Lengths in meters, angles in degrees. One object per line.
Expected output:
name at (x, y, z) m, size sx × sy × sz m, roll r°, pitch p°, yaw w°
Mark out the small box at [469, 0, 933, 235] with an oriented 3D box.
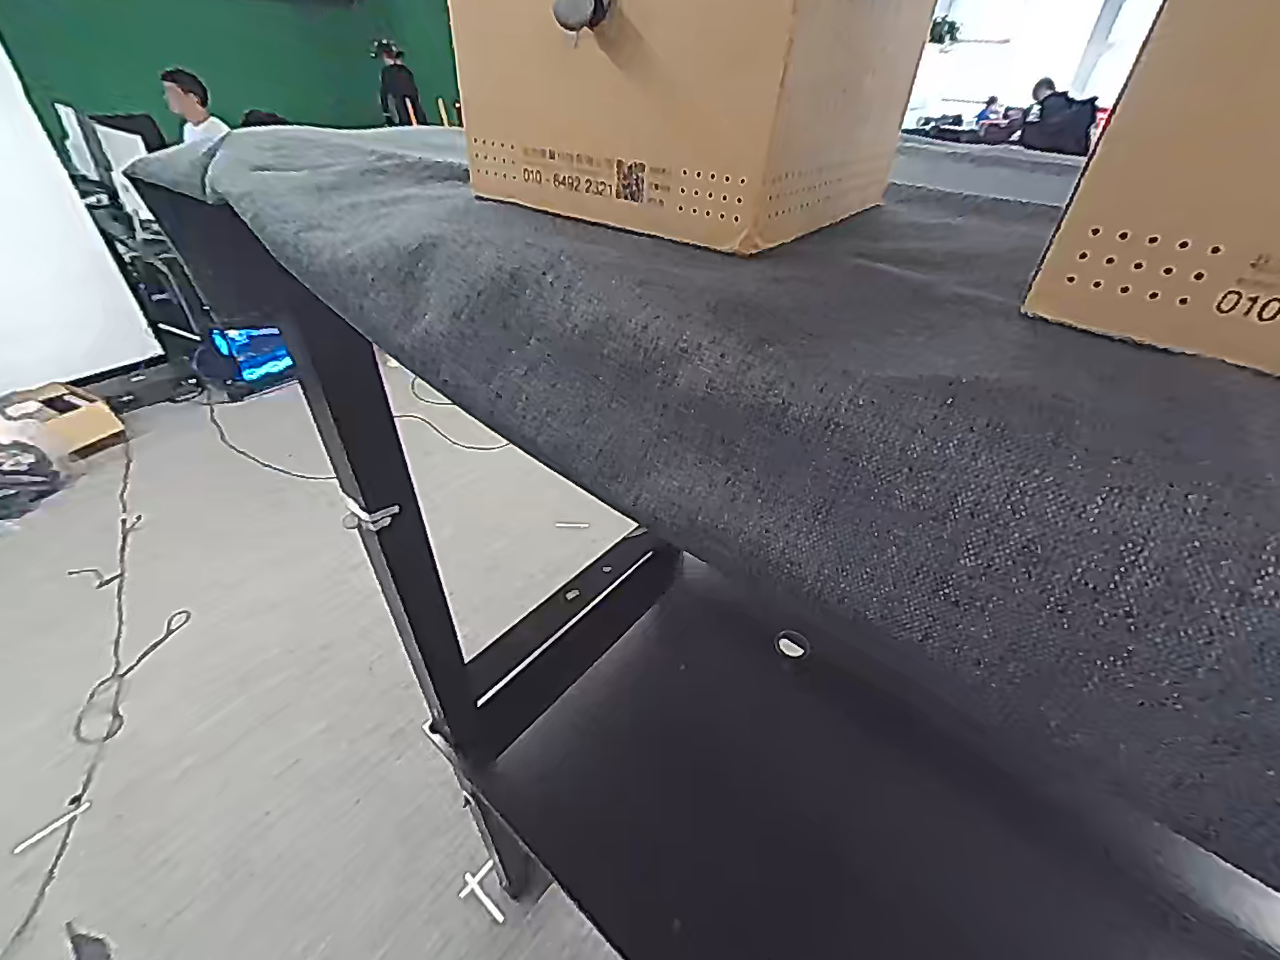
small box at (0.035, -0.225, 0.252) m, size 0.168 × 0.176 × 0.179 m, roll 26°, pitch 43°, yaw 26°
